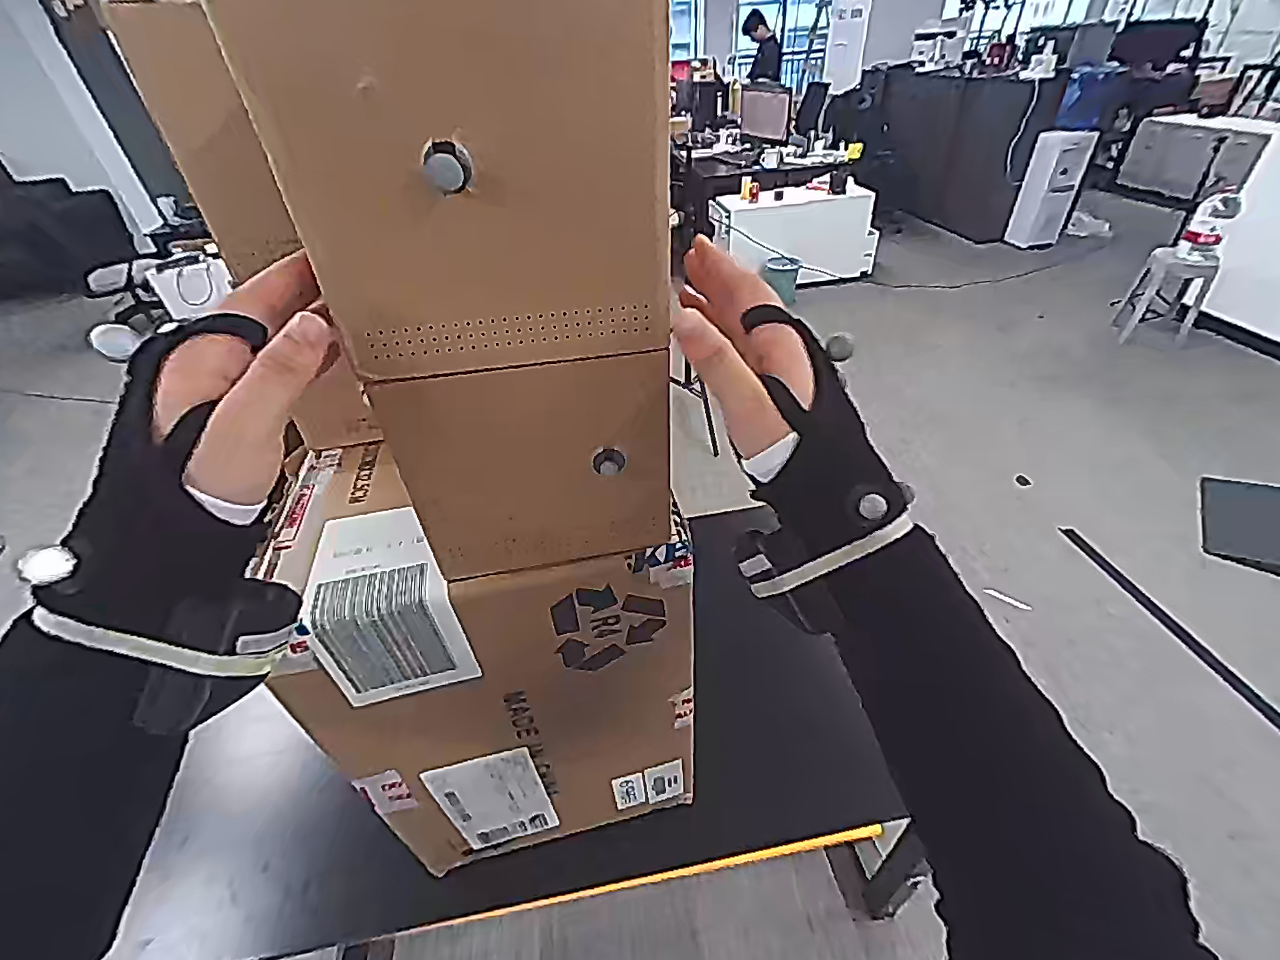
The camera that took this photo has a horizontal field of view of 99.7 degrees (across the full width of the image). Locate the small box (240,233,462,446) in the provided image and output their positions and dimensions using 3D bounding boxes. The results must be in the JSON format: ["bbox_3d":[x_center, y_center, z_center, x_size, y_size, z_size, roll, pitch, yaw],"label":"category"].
[{"bbox_3d":[-0.267,-0.158,0.568,0.168,0.176,0.179,-11,39,-10],"label":"small box"}]

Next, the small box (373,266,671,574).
[{"bbox_3d":[-0.078,-0.050,0.426,0.179,0.176,0.168,-10,39,-7],"label":"small box"}]

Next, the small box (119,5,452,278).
[{"bbox_3d":[-0.266,-0.285,0.462,0.168,0.176,0.179,-13,38,-12],"label":"small box"}]
